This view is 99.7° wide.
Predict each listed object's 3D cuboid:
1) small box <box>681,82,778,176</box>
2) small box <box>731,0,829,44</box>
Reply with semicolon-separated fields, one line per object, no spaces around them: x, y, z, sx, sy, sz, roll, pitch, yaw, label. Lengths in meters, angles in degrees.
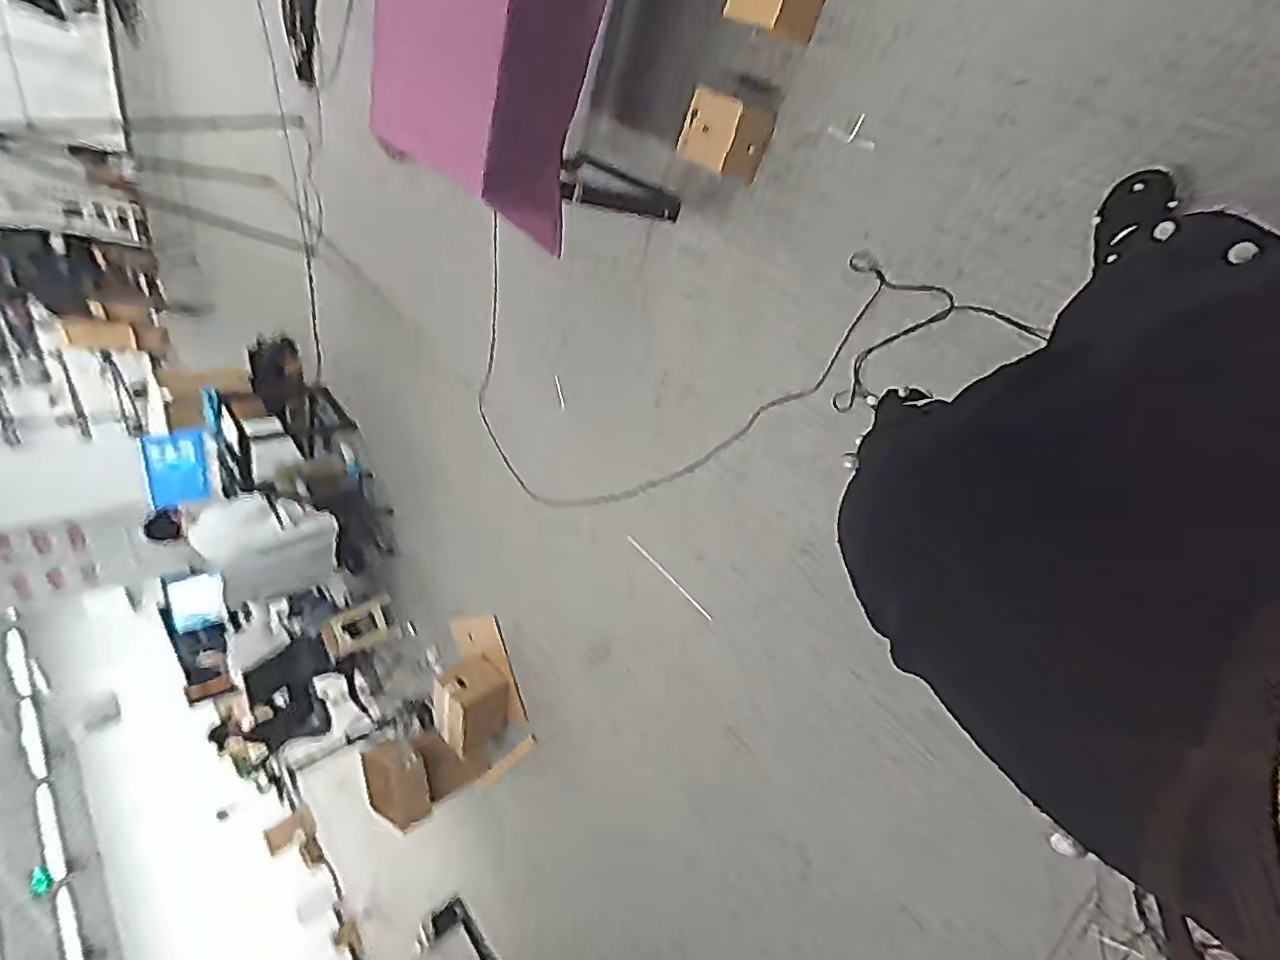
0.254;-0.976;1.518;0.179;0.176;0.168;42;127;26;small box
0.364;-1.225;1.339;0.168;0.176;0.179;42;127;27;small box
